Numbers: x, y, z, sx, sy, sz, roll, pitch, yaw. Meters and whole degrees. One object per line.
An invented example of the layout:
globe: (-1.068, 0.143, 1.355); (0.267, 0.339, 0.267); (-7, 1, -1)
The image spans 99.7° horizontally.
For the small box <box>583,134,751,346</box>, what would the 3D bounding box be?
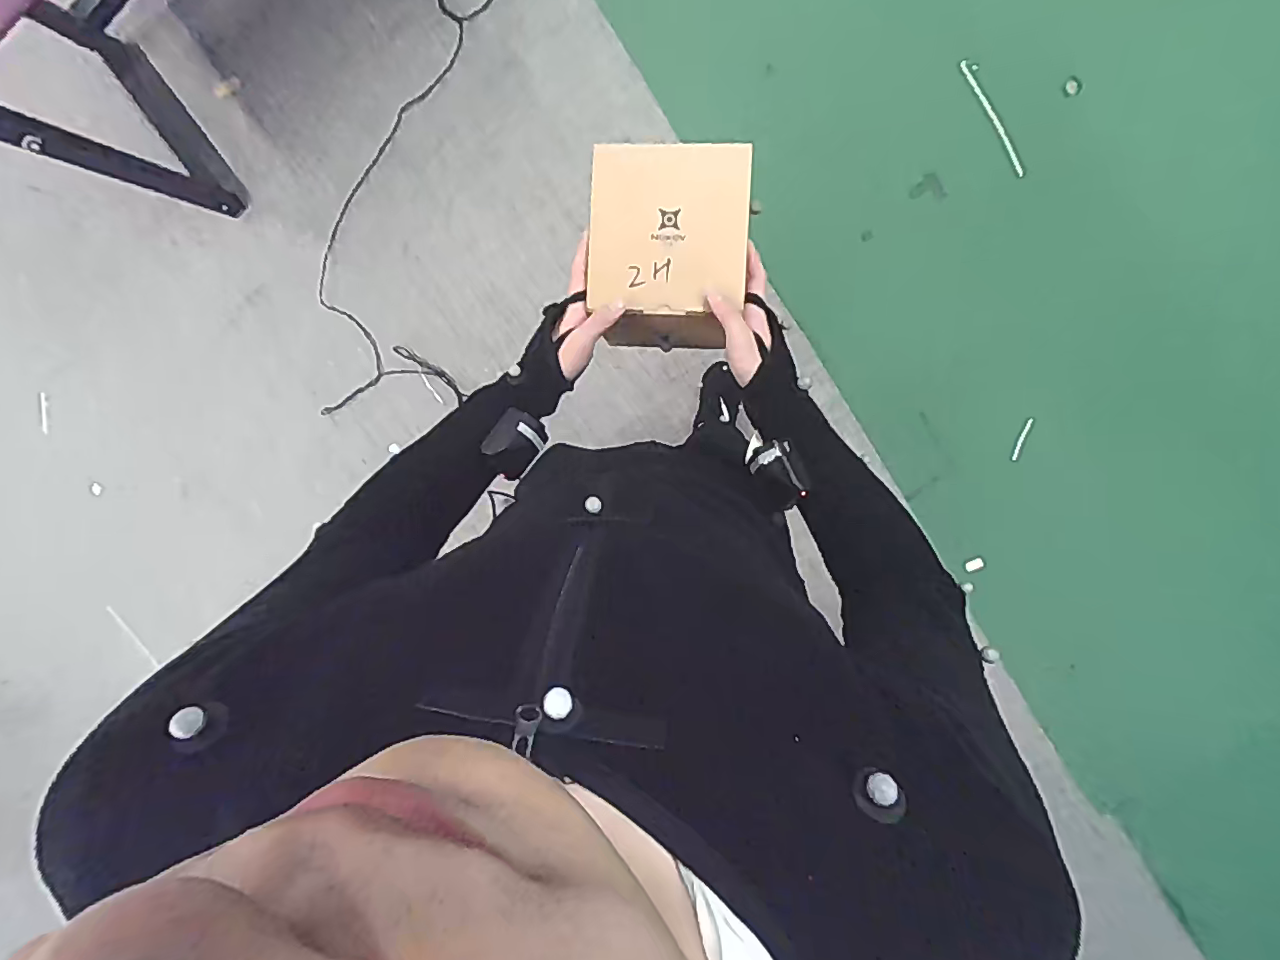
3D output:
small box: (0.033, -0.266, 0.631); (0.168, 0.176, 0.179); (3, 91, 6)
